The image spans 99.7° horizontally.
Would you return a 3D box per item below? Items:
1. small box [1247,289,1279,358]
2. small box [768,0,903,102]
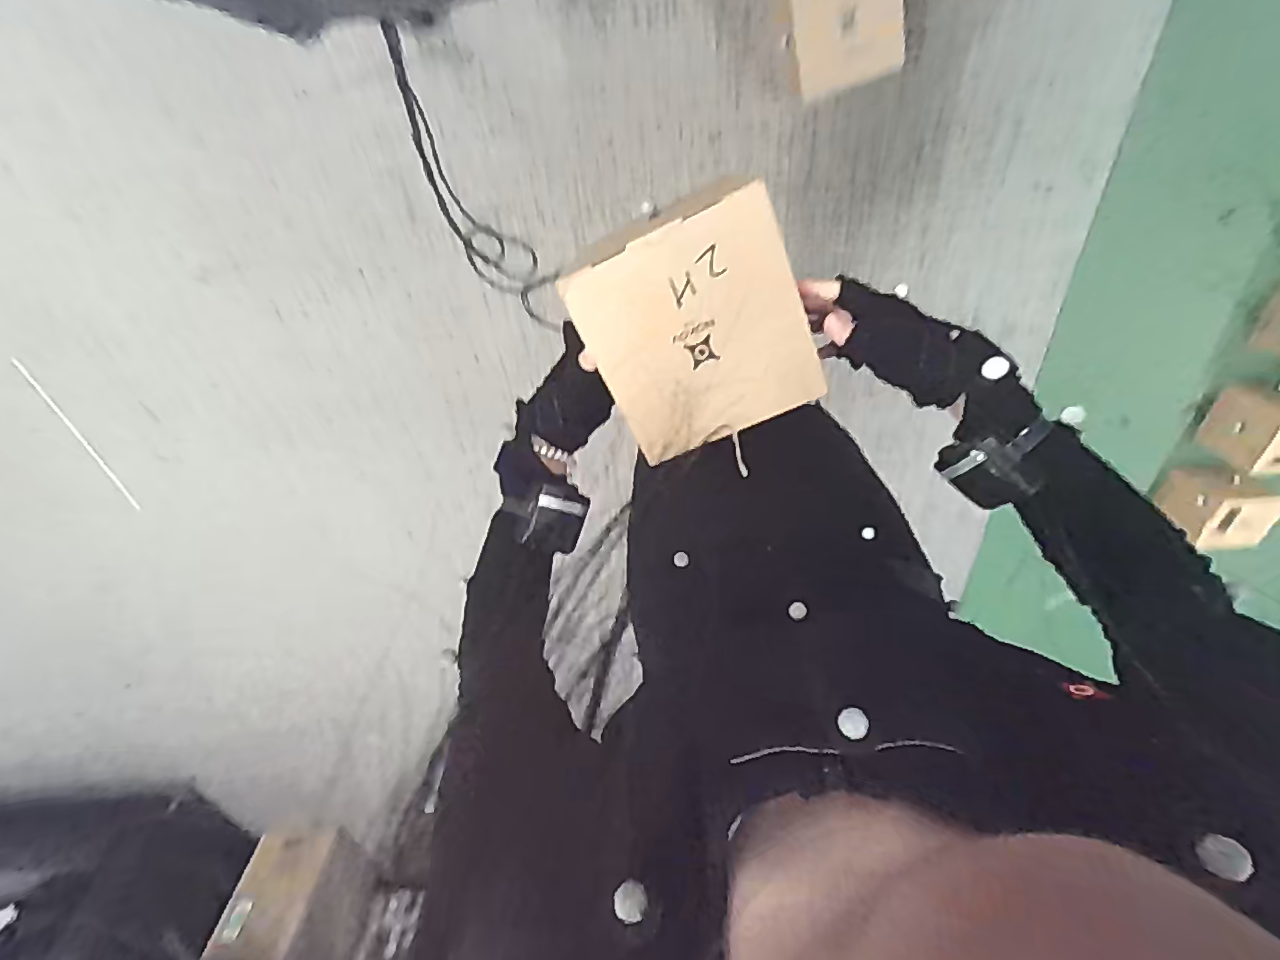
[{"bbox_3d":[1.534,-0.352,1.192,0.179,0.176,0.168,-5,126,4],"label":"small box"},{"bbox_3d":[0.320,-0.758,0.900,0.168,0.176,0.179,-14,124,10],"label":"small box"}]
